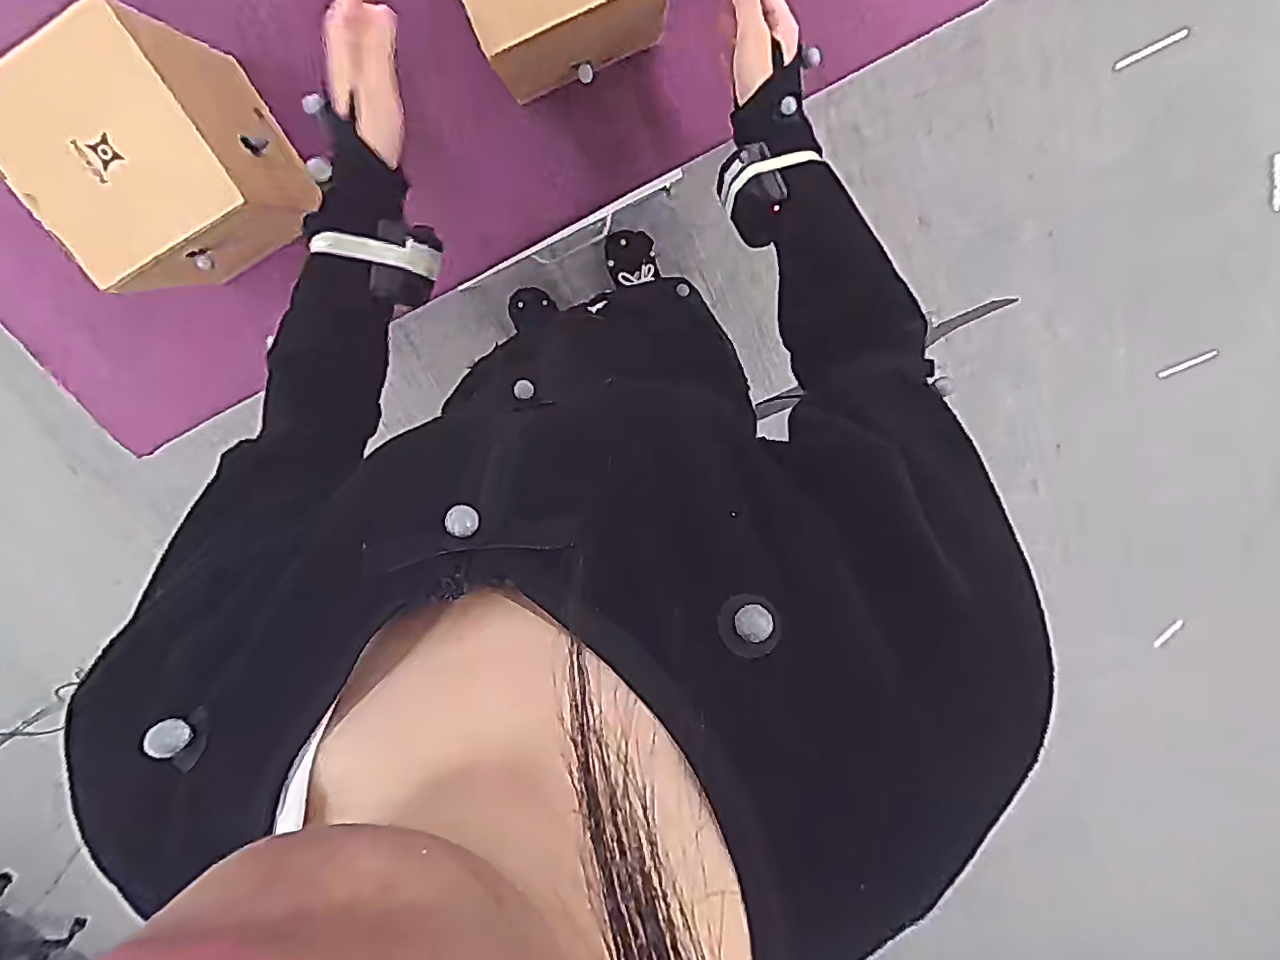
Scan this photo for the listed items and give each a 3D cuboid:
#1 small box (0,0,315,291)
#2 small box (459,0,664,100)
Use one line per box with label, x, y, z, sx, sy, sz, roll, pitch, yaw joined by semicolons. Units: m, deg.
small box;-0.463;-0.310;0.535;0.179;0.176;0.168;-25;112;9
small box;-0.085;-0.476;0.474;0.168;0.176;0.179;-19;114;7
